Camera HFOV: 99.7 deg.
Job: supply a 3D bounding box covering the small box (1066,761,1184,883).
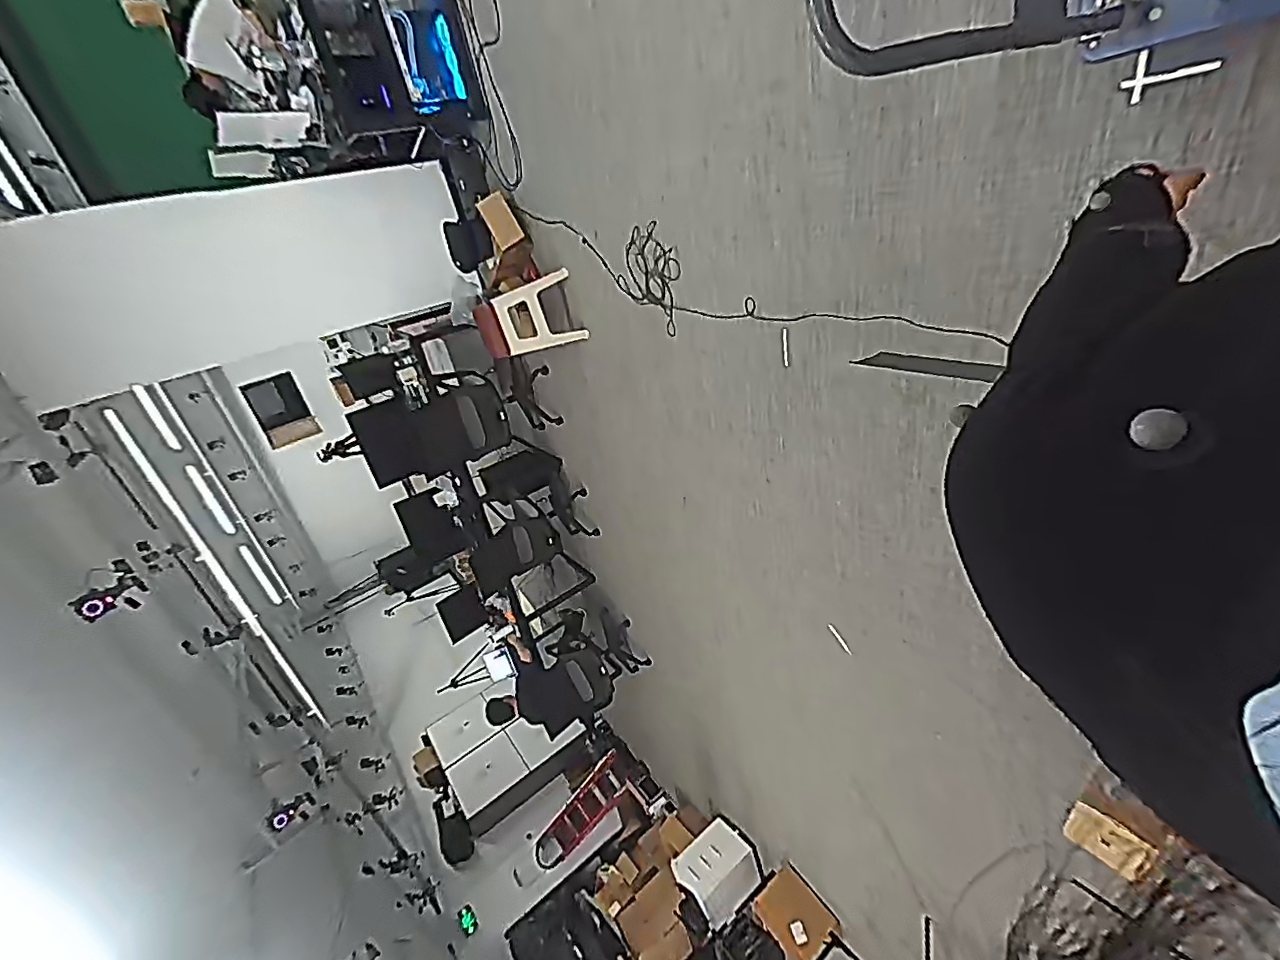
[{"bbox_3d":[1.262,0.884,1.407,0.168,0.176,0.179,29,138,45],"label":"small box"}]
